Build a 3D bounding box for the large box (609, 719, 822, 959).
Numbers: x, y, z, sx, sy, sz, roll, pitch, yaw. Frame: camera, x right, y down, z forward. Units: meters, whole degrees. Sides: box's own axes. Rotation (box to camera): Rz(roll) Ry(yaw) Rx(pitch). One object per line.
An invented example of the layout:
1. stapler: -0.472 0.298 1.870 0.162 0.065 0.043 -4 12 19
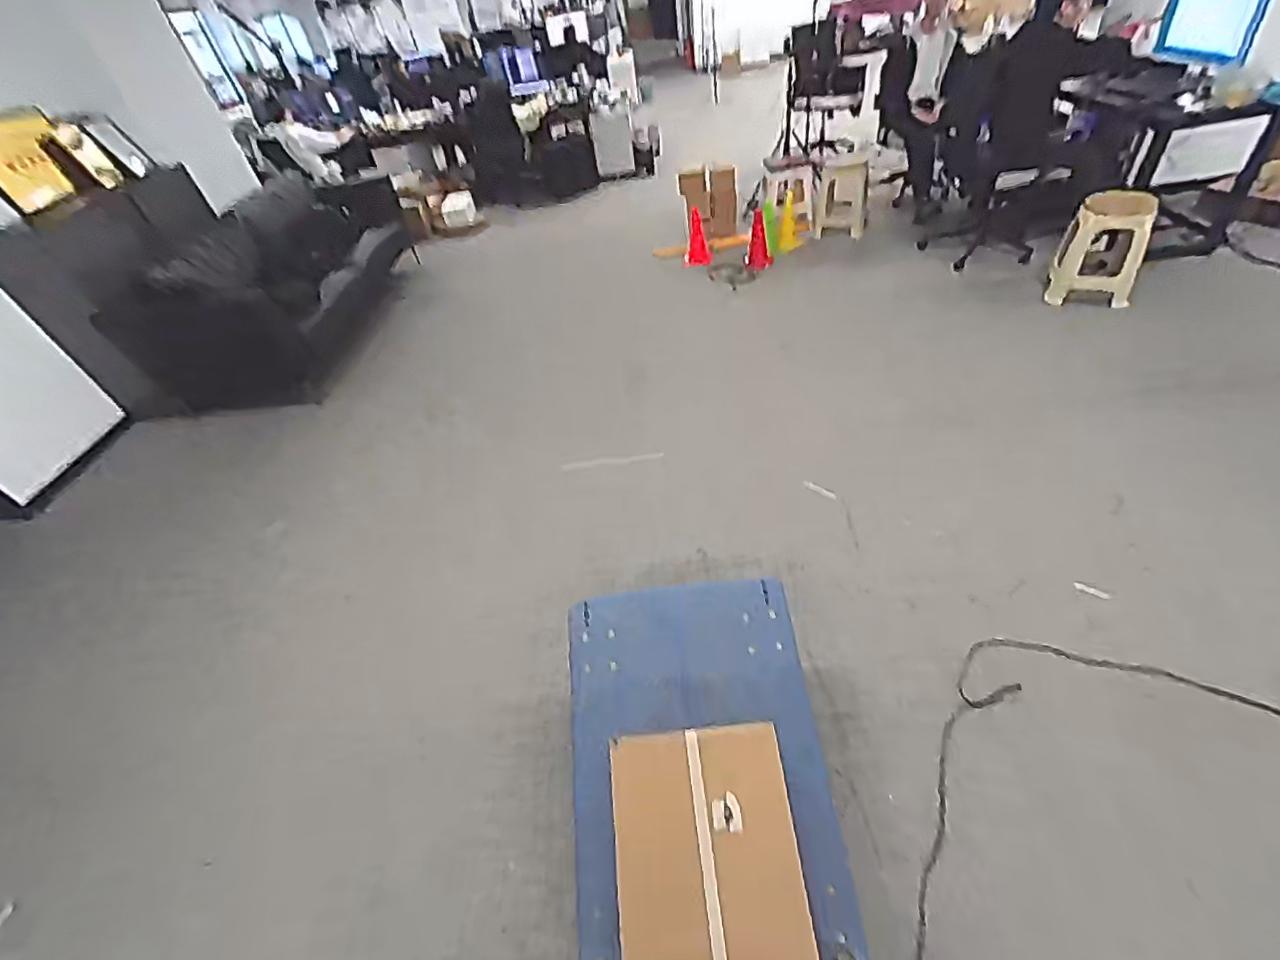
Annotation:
1. large box: 0.131 0.713 1.051 0.320 0.320 0.408 -8 61 2
